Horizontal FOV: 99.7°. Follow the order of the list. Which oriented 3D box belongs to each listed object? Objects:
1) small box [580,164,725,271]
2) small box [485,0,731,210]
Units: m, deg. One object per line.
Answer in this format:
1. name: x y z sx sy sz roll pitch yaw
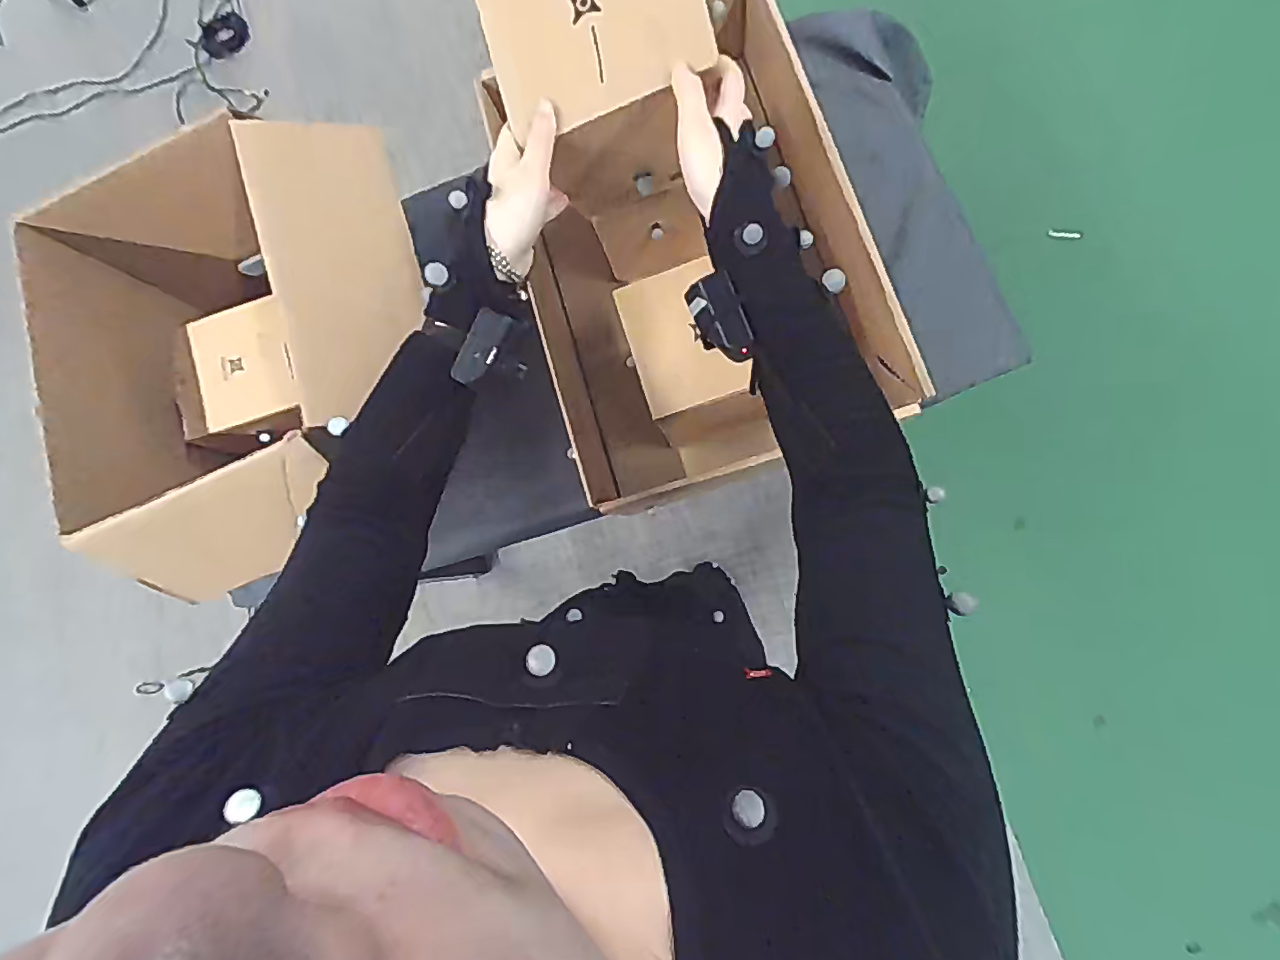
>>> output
1. small box: 0.010 -0.410 0.723 0.179 0.176 0.168 -17 83 7
2. small box: -0.020 -0.375 0.480 0.168 0.176 0.179 -13 96 15
